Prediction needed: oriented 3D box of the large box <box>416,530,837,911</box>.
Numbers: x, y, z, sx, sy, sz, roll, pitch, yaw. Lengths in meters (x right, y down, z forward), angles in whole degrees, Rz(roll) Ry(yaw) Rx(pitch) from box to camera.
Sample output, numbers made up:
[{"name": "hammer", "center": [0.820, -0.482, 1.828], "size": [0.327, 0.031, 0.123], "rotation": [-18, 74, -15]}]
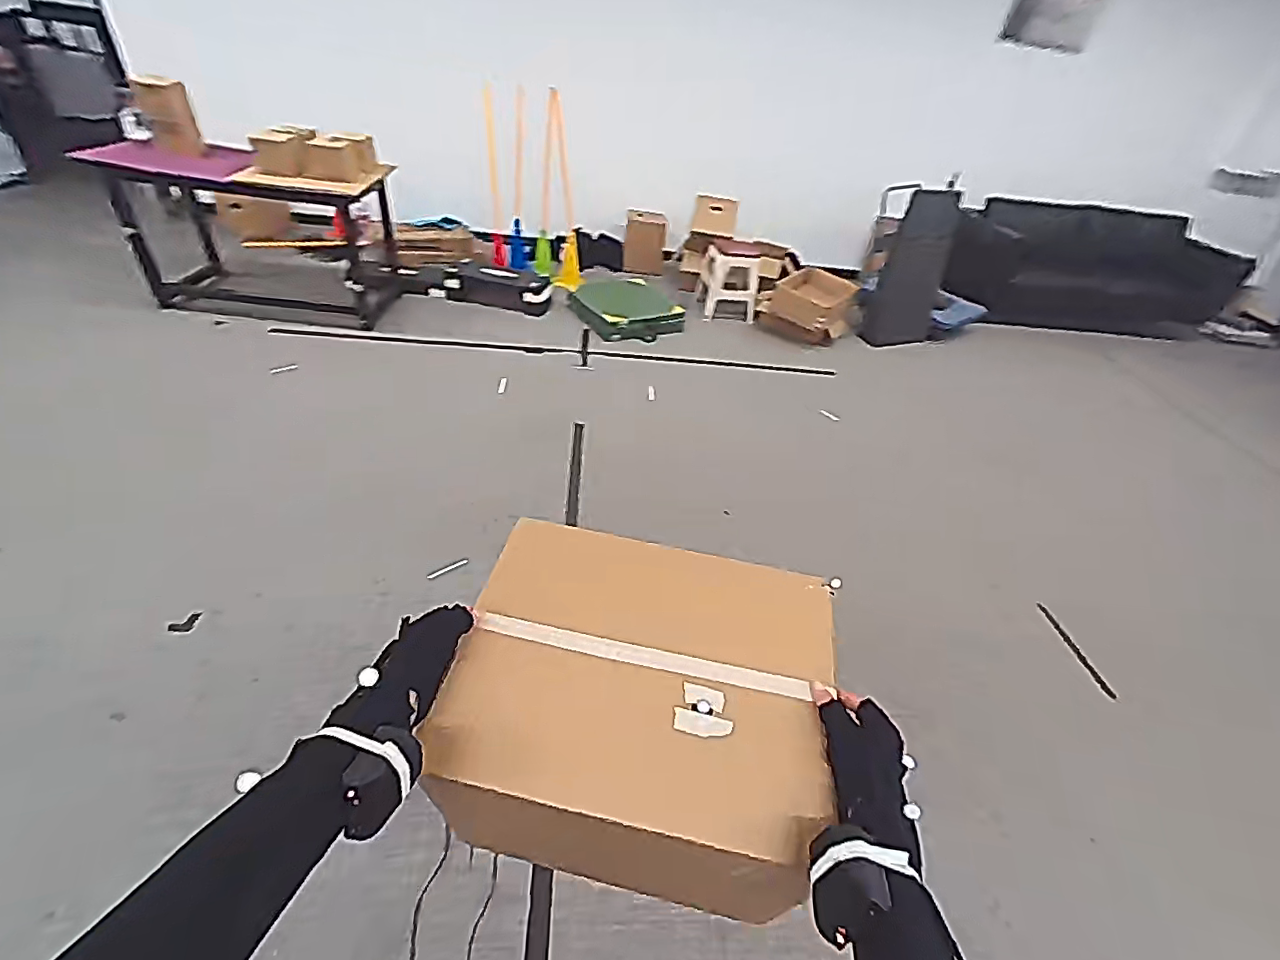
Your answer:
[{"name": "large box", "center": [-0.005, 0.306, 0.702], "size": [0.408, 0.320, 0.320], "rotation": [10, 46, 5]}]
